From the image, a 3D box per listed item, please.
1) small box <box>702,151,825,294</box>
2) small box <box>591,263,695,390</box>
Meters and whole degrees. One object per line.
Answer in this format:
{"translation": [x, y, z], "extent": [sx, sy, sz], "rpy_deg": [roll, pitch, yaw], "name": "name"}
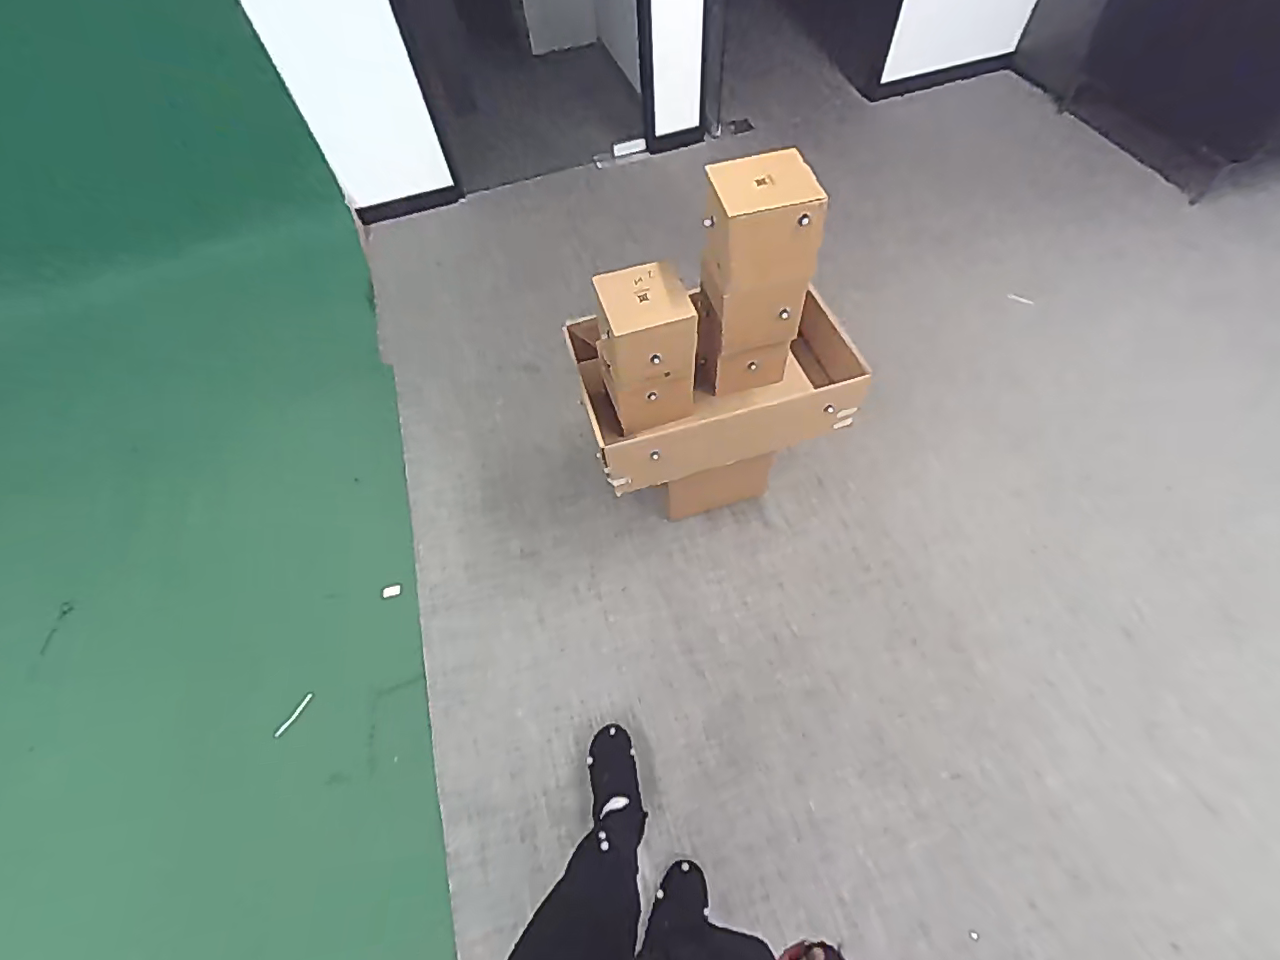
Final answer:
{"translation": [0.220, -0.474, 1.012], "extent": [0.179, 0.176, 0.168], "rpy_deg": [-12, 58, -2], "name": "small box"}
{"translation": [0.008, -0.307, 1.114], "extent": [0.168, 0.176, 0.179], "rpy_deg": [-16, 60, -6], "name": "small box"}
